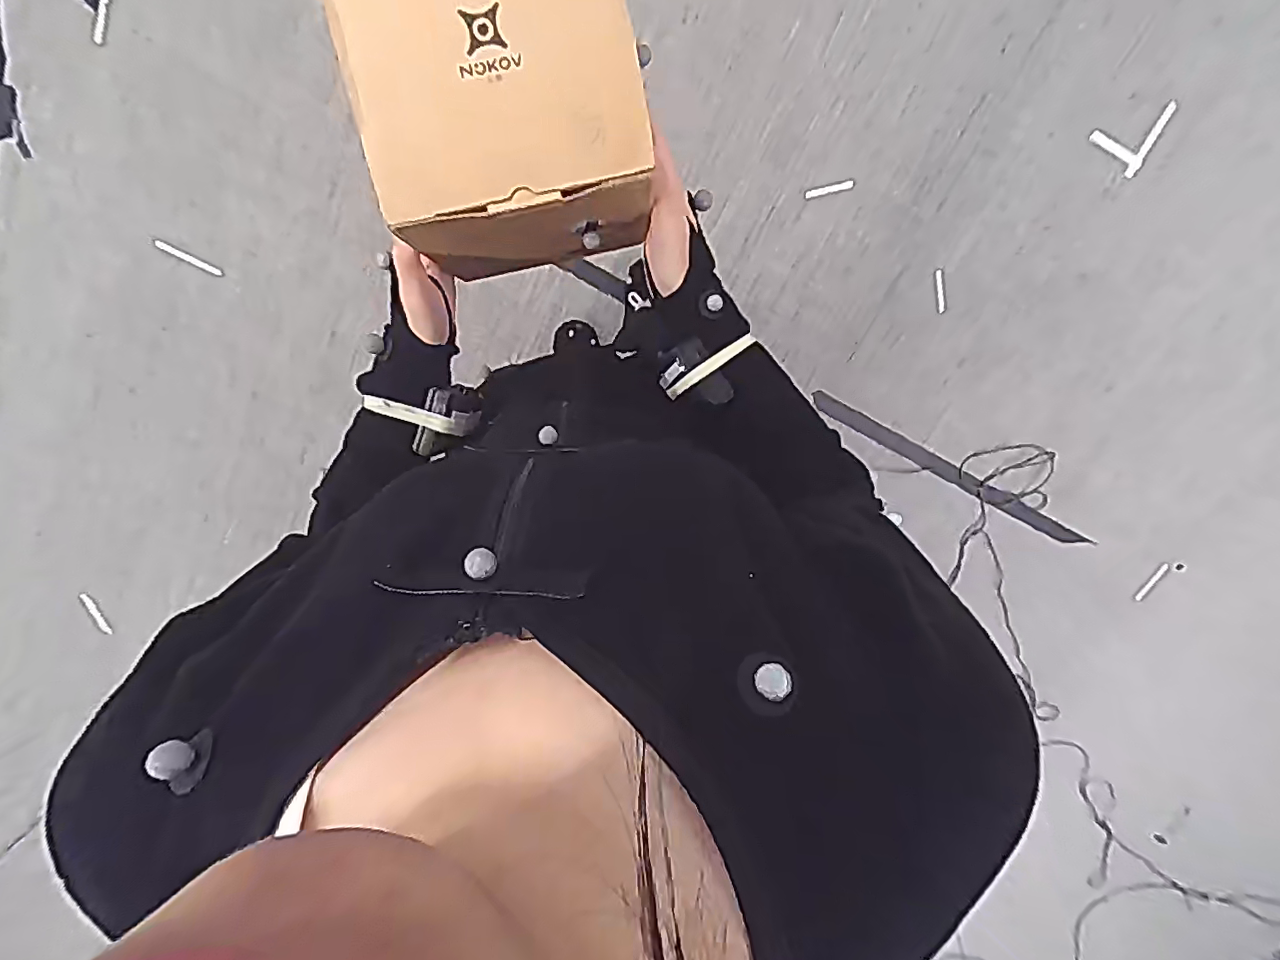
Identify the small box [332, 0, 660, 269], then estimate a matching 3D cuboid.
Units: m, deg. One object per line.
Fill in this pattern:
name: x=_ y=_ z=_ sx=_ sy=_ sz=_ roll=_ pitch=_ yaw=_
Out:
small box: x=-0.086 y=-0.260 z=0.379 sx=0.168 sy=0.176 sz=0.179 roll=-13 pitch=99 yaw=-1
